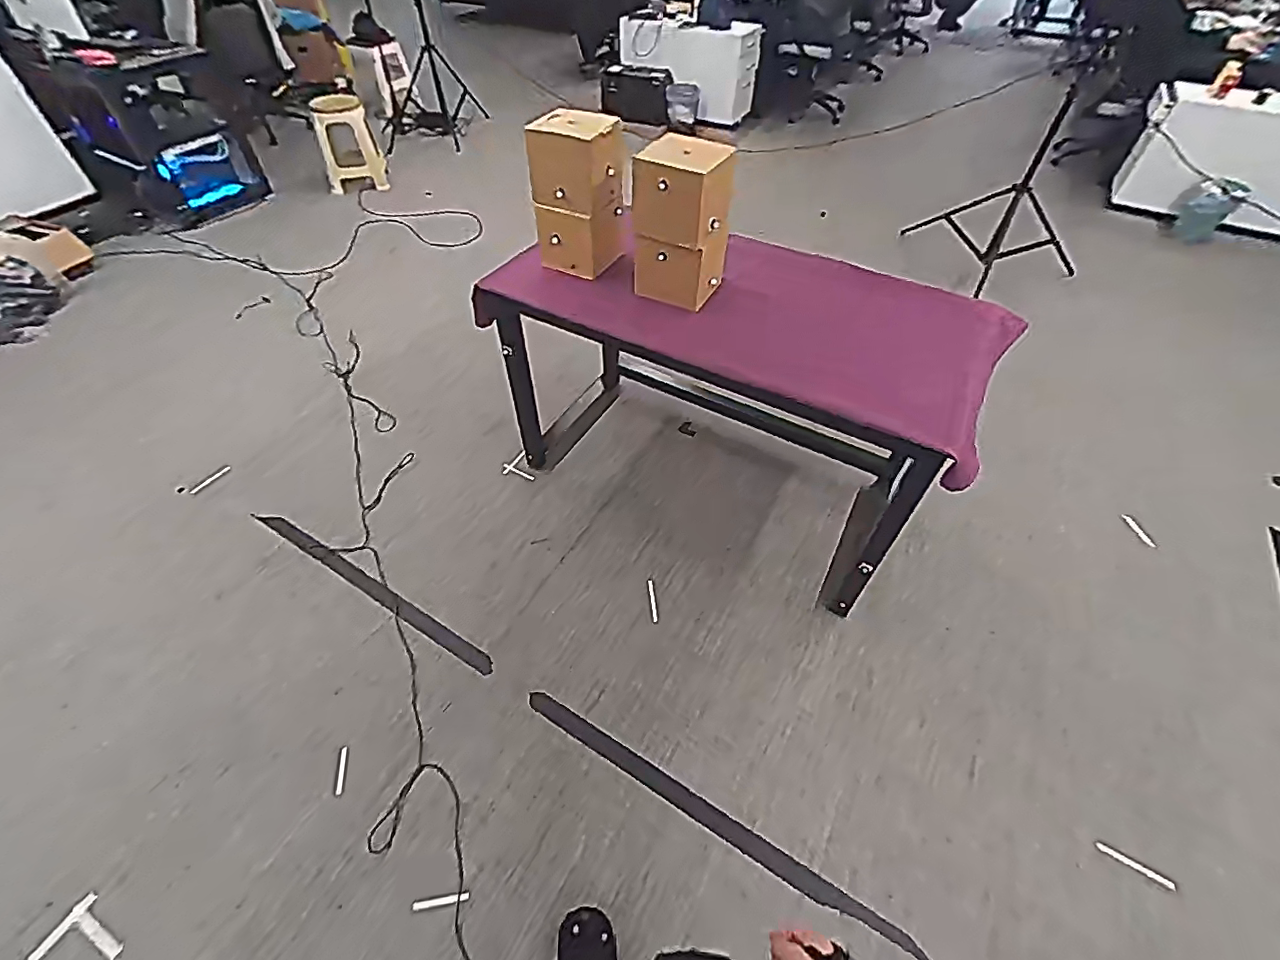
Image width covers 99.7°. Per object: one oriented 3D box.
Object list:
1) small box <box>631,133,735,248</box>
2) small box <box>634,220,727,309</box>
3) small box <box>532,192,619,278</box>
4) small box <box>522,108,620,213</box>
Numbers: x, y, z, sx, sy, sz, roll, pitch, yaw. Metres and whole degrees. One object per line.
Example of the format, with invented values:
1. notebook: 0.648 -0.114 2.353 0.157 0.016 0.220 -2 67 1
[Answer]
1. small box: 0.091 -0.649 1.220 0.179 0.176 0.168 25 55 17
2. small box: 0.097 -0.554 1.351 0.179 0.176 0.168 23 53 16
3. small box: -0.162 -0.664 1.441 0.168 0.176 0.179 21 52 16
4. small box: -0.161 -0.777 1.321 0.179 0.176 0.168 20 52 14
